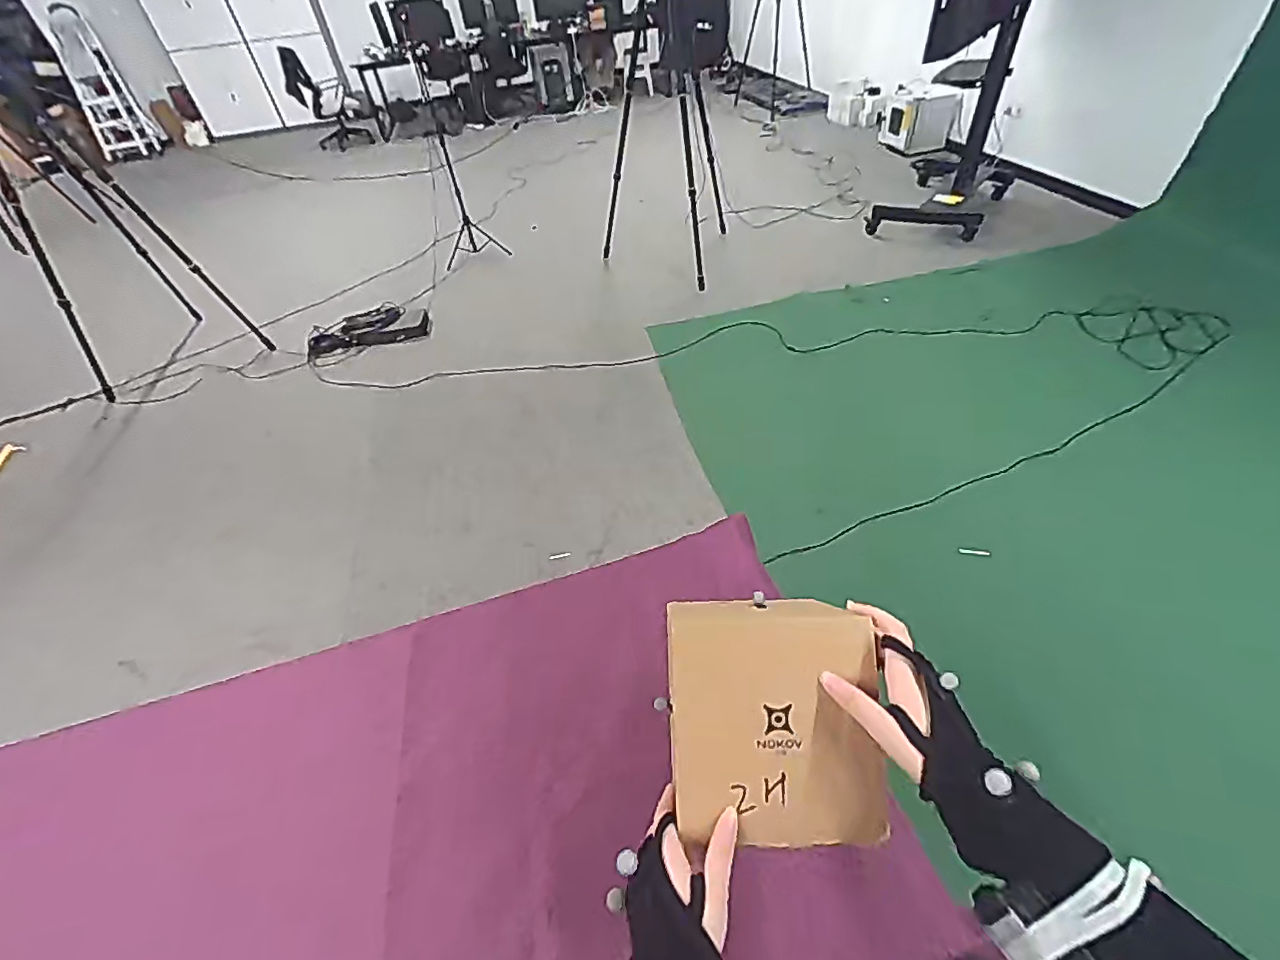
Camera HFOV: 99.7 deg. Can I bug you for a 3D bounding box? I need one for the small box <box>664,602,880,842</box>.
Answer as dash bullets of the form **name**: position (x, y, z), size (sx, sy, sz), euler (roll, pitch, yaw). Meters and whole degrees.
- **small box**: position (0.107, 0.210, 0.516), size (0.168, 0.176, 0.179), euler (-2, 83, 2)
